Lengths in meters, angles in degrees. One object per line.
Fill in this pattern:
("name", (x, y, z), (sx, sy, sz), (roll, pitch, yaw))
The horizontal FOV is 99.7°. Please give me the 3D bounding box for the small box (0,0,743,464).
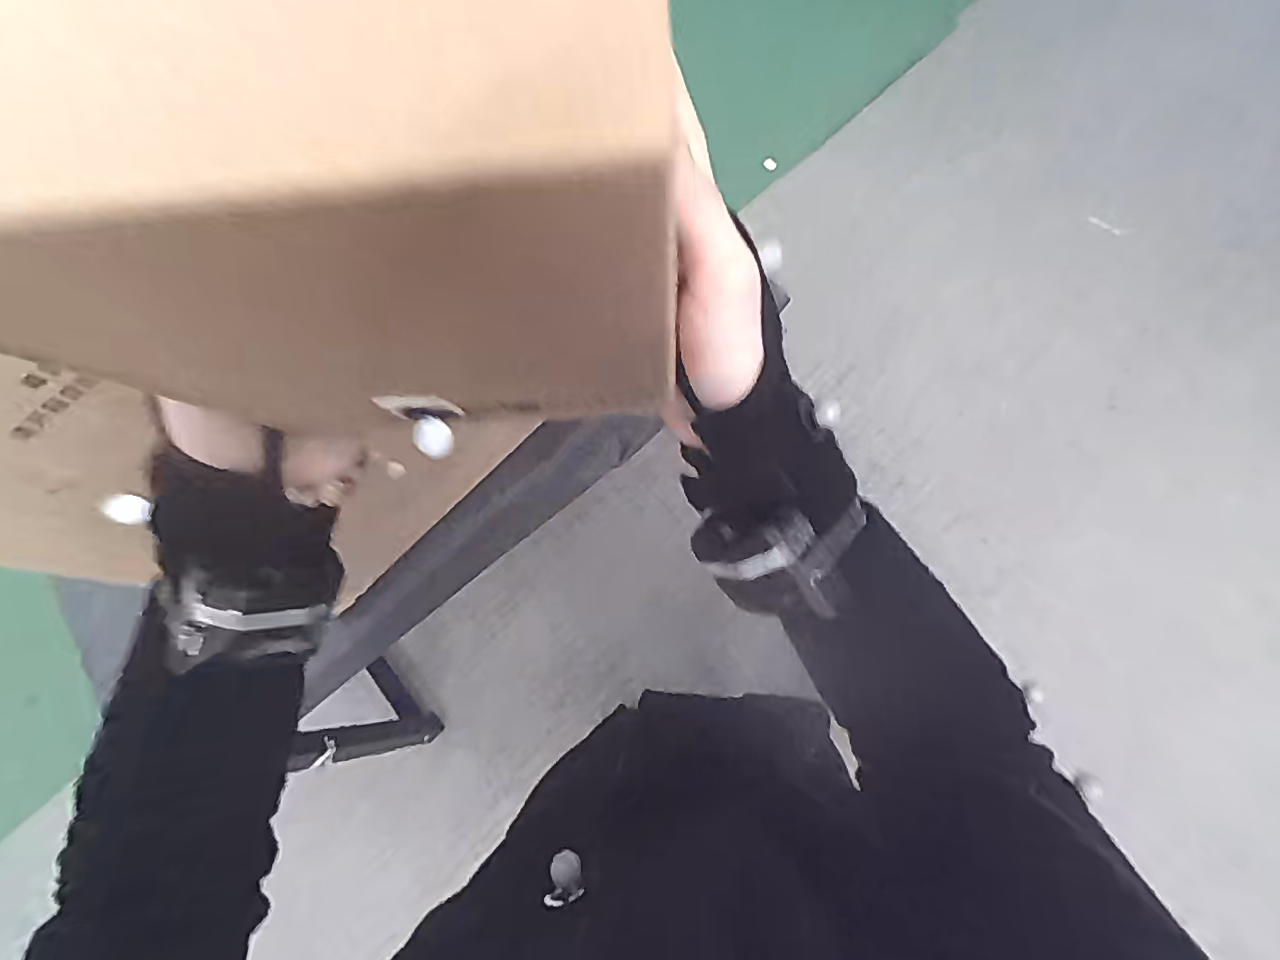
("small box", (-0.065, -0.105, 0.175), (0.168, 0.176, 0.179), (-4, 85, 3))
